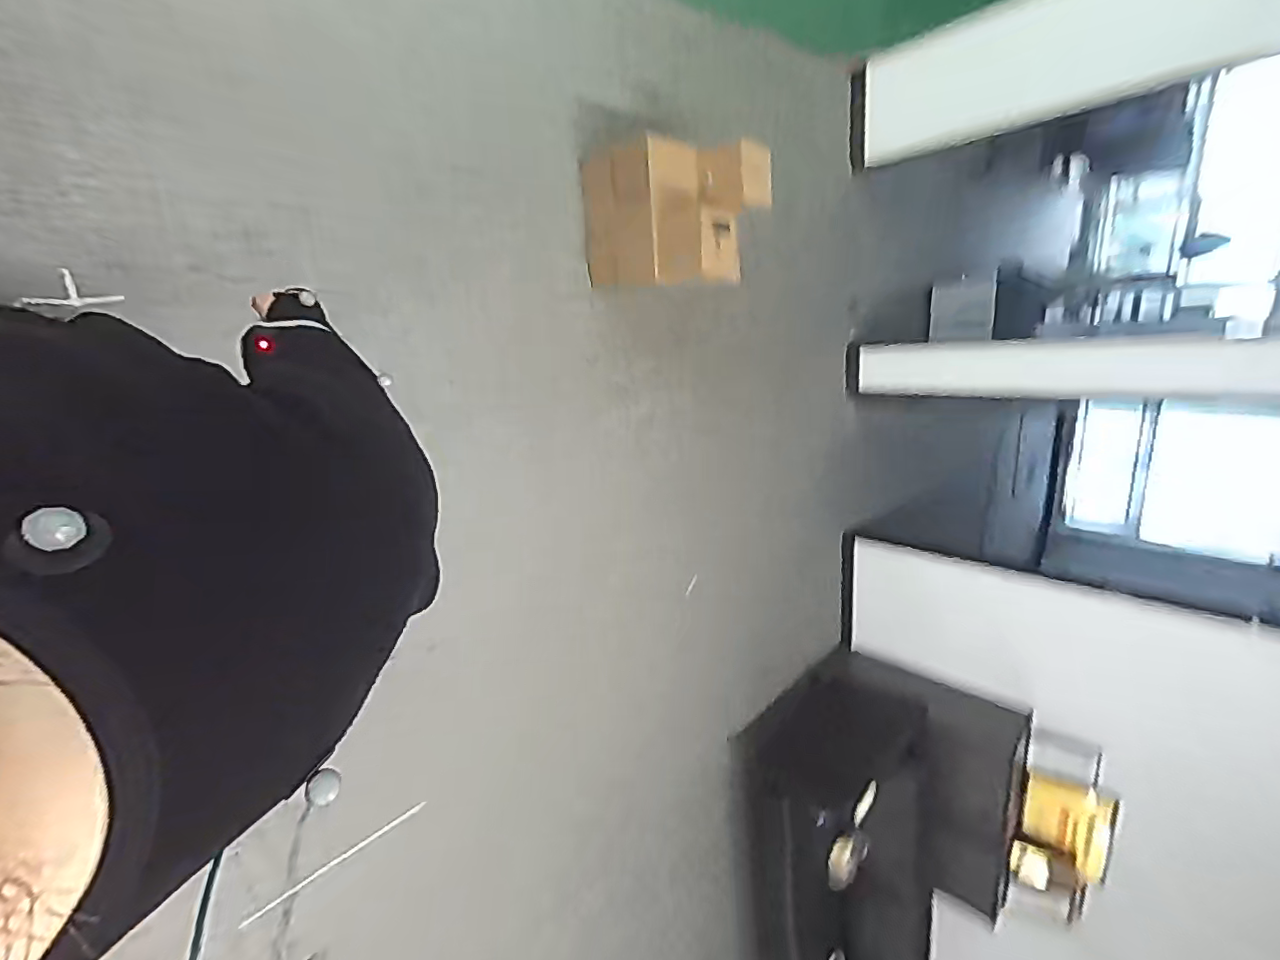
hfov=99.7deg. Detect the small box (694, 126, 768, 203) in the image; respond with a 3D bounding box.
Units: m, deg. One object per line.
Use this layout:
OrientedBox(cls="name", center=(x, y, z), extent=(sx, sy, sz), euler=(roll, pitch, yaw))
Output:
OrientedBox(cls="small box", center=(0.289, -0.990, 1.712), extent=(0.179, 0.176, 0.168), euler=(-21, 112, -44))
